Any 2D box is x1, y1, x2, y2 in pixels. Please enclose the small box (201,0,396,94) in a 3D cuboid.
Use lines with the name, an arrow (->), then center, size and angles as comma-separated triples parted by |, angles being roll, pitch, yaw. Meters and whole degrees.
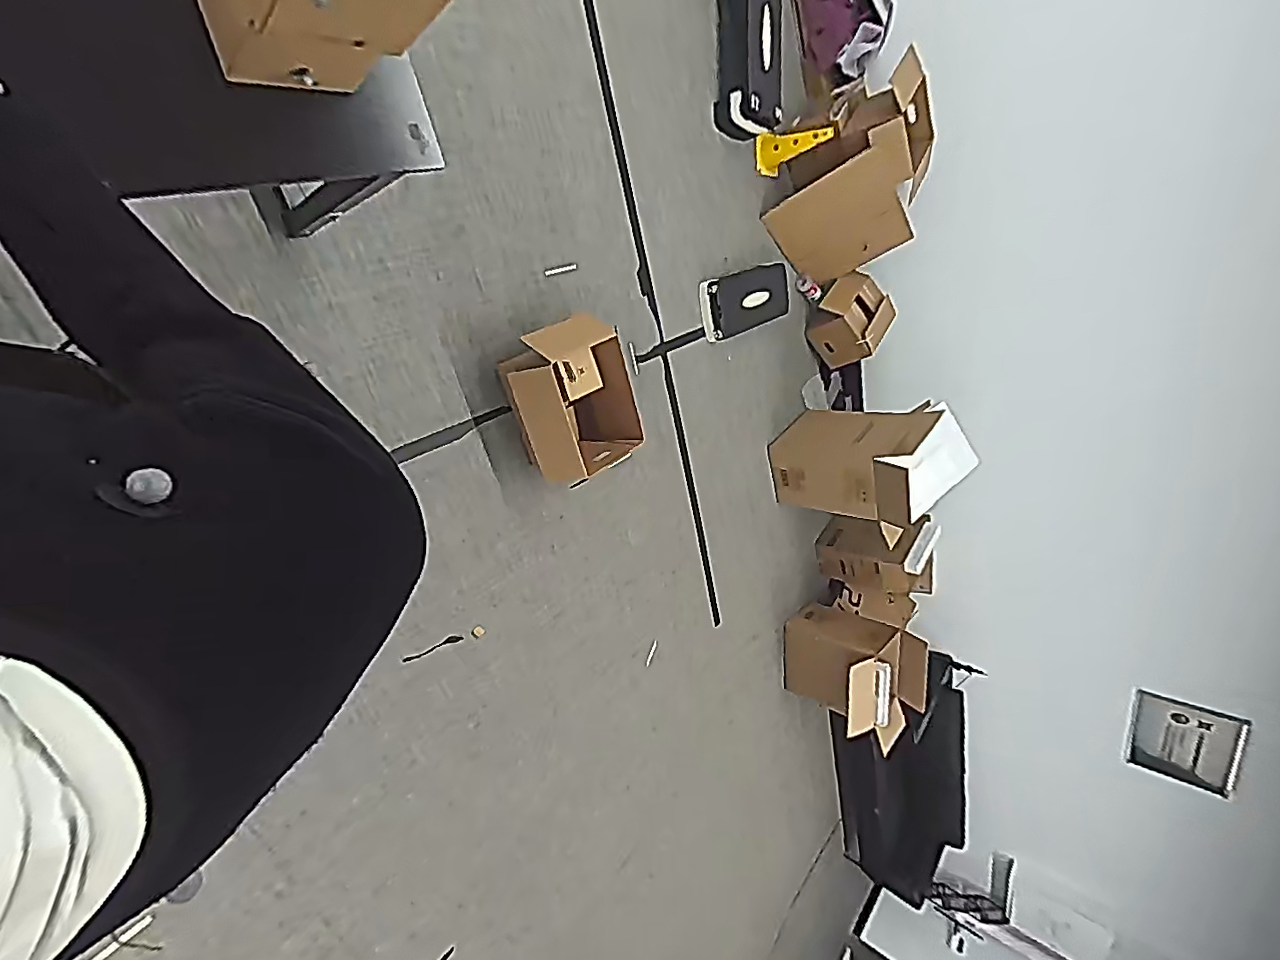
small box -> -0.442, -0.621, 0.674 | 0.168, 0.176, 0.179 | -27, 116, -39
